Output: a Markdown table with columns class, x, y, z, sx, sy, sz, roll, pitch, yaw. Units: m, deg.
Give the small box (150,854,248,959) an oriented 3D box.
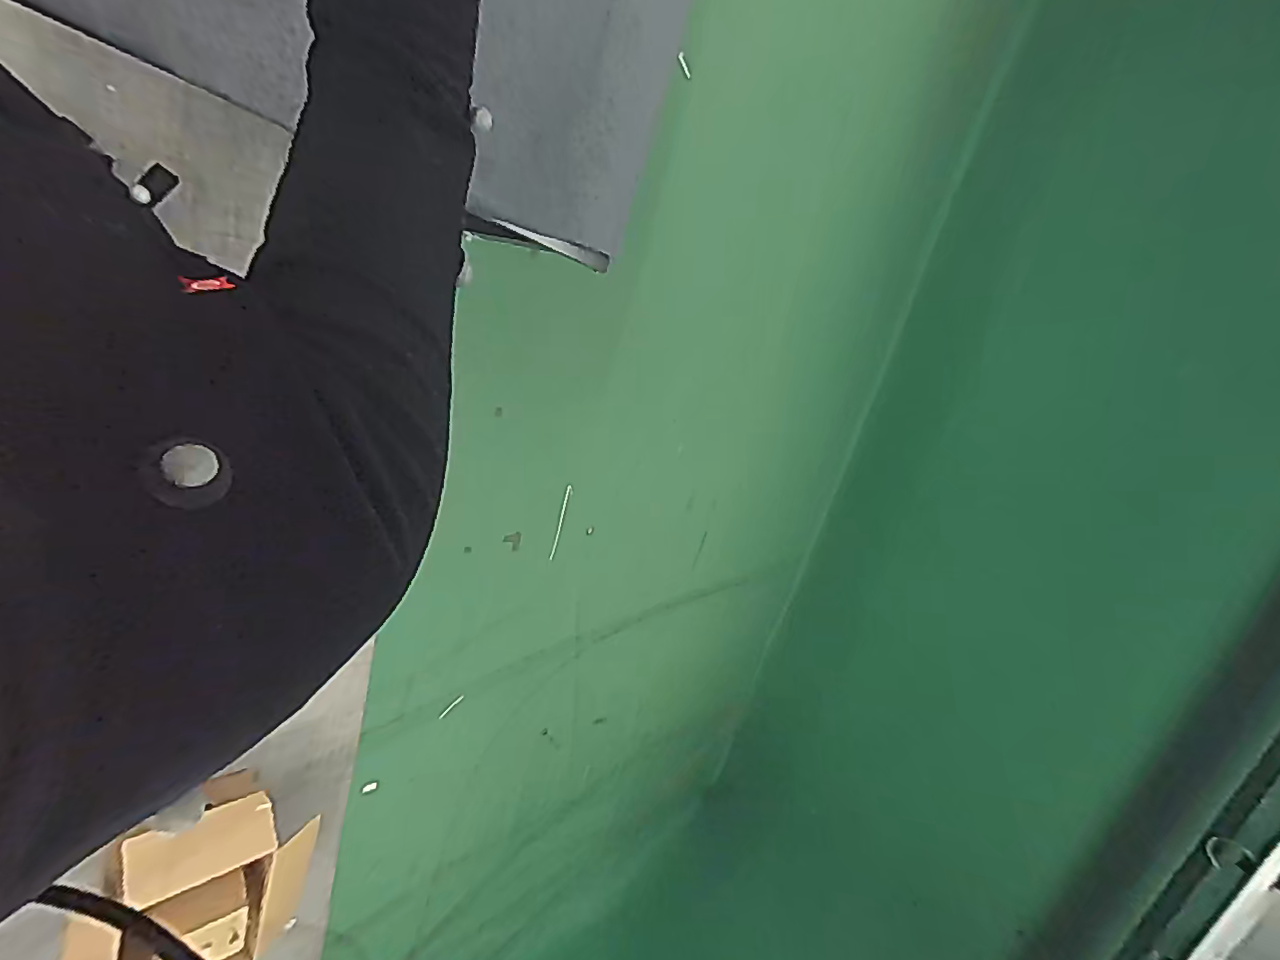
| class | x | y | z | sx | sy | sz | roll | pitch | yaw |
| --- | --- | --- | --- | --- | --- | --- | --- | --- | --- |
| small box | -1.127 | 1.113 | 1.378 | 0.179 | 0.176 | 0.168 | 3 | 113 | -45 |
